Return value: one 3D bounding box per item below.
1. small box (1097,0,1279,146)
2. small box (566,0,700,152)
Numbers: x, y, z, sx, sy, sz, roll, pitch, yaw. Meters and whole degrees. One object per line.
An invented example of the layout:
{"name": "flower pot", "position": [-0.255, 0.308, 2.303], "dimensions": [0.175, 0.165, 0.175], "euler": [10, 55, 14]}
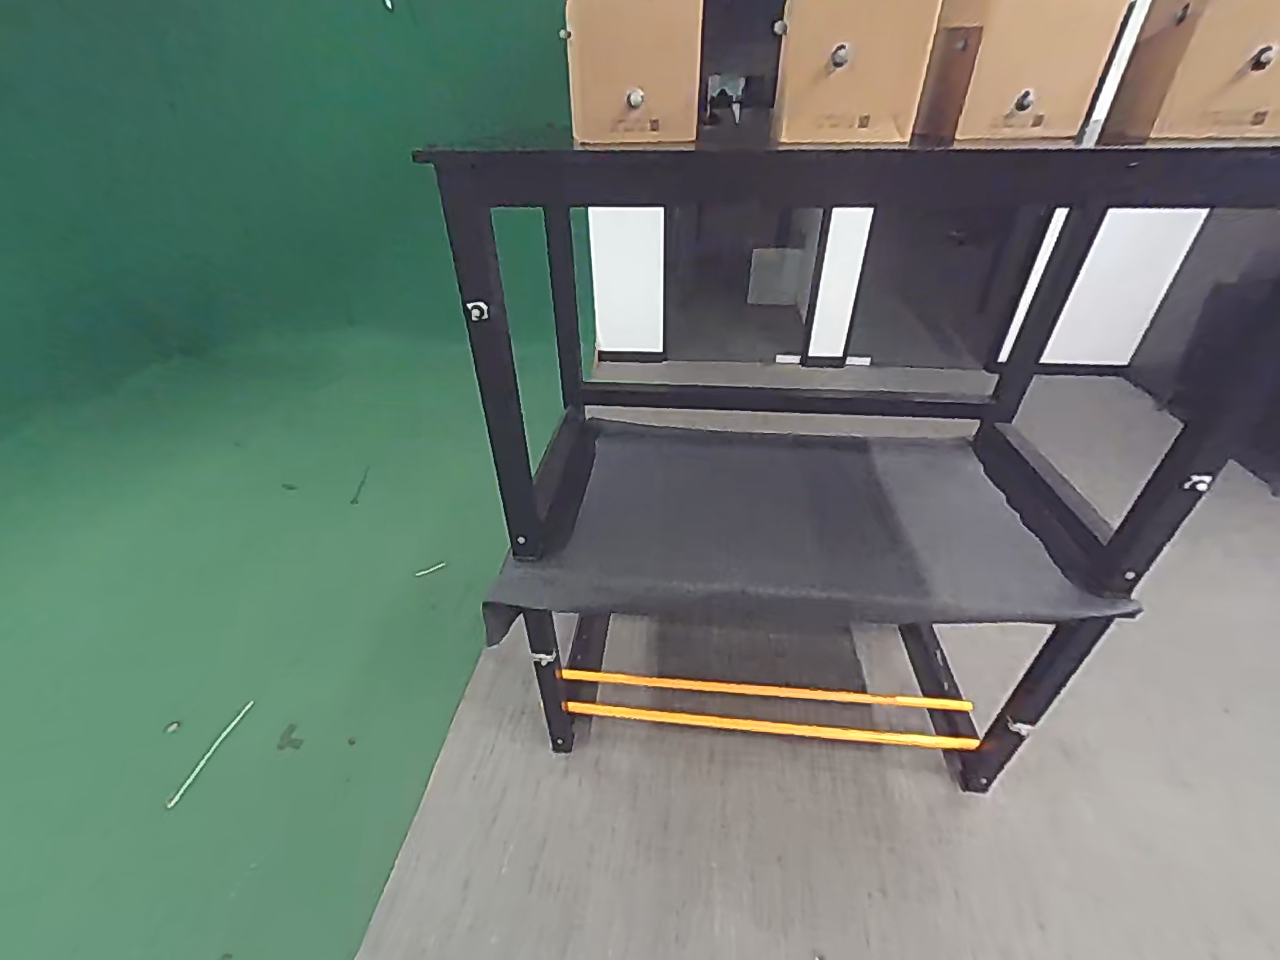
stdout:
{"name": "small box", "position": [0.743, -0.531, 0.694], "dimensions": [0.168, 0.176, 0.179], "euler": [10, 36, 14]}
{"name": "small box", "position": [-0.017, -0.580, 0.781], "dimensions": [0.168, 0.176, 0.179], "euler": [-6, 37, -7]}
